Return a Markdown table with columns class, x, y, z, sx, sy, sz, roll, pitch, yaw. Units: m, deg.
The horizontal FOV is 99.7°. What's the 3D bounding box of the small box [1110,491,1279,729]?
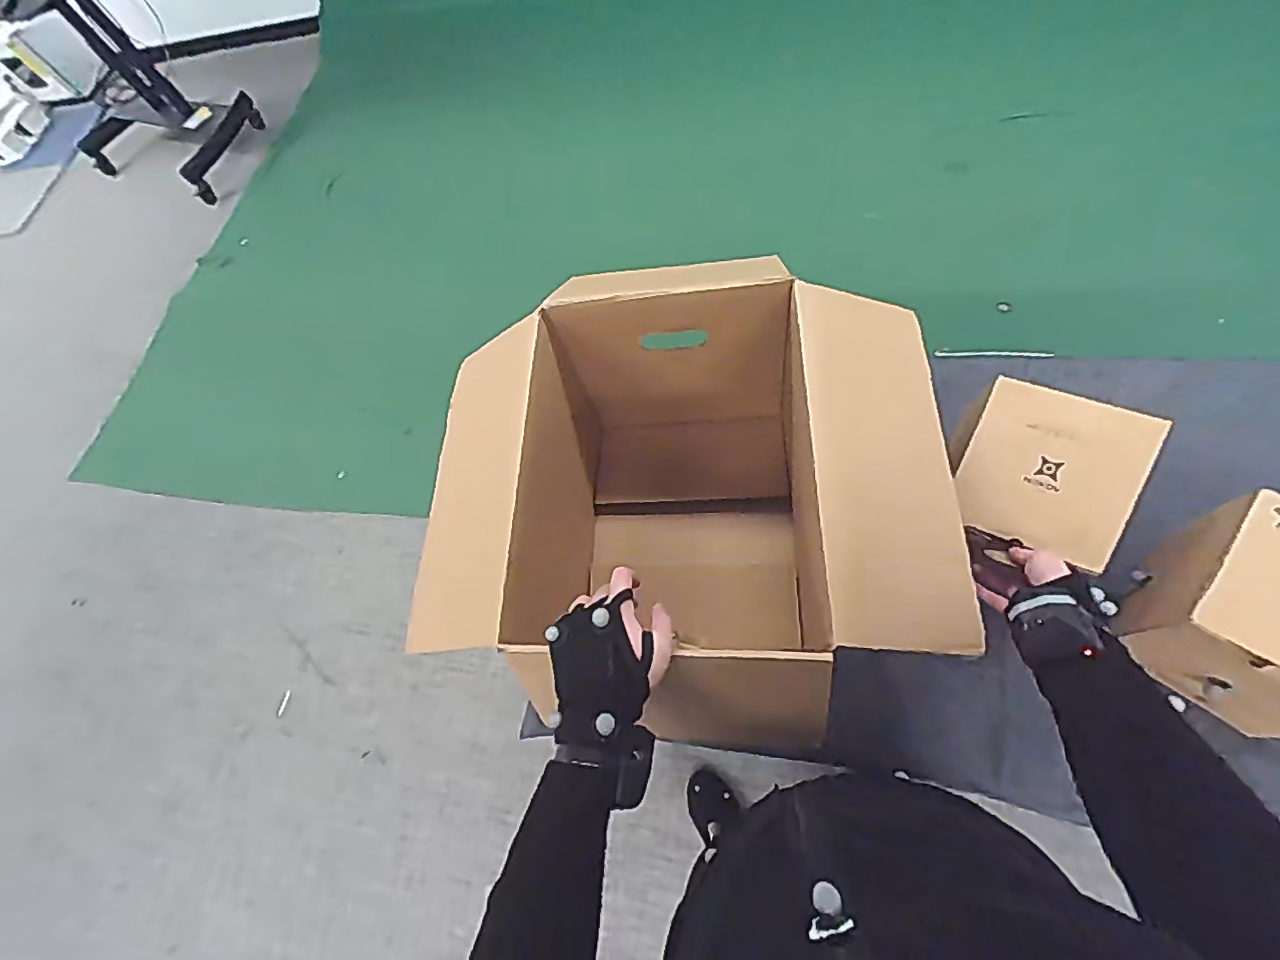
| class | x | y | z | sx | sy | sz | roll | pitch | yaw |
| --- | --- | --- | --- | --- | --- | --- | --- | --- | --- |
| small box | 0.668 | 0.148 | 0.585 | 0.168 | 0.176 | 0.179 | 37 | 79 | 24 |
